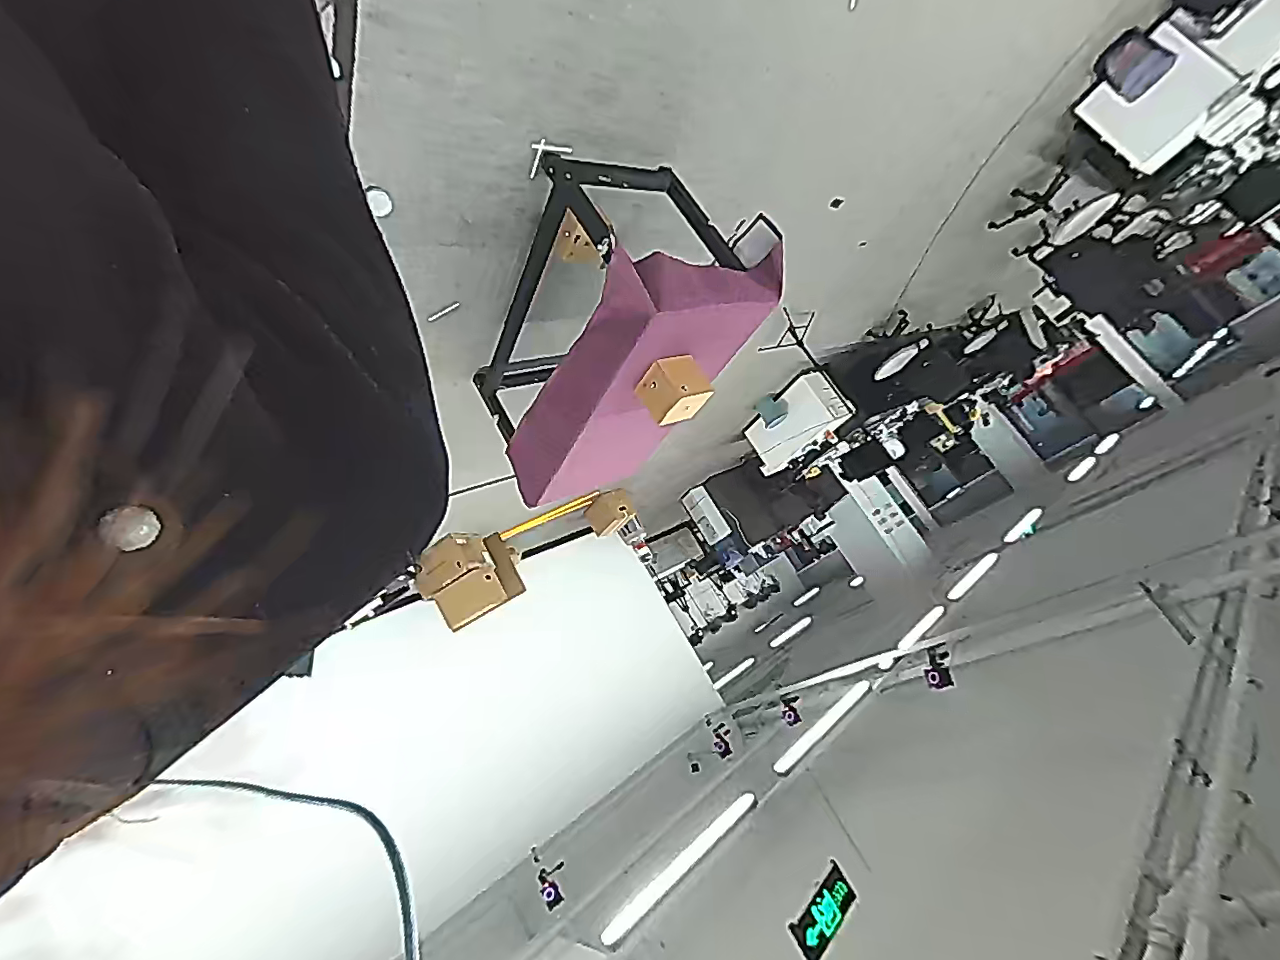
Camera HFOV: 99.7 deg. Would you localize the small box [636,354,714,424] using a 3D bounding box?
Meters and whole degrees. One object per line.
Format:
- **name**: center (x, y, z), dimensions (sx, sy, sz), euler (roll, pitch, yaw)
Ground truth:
- **small box**: center (0.119, -0.325, 1.906), dimensions (0.179, 0.176, 0.168), euler (-19, 160, -38)
